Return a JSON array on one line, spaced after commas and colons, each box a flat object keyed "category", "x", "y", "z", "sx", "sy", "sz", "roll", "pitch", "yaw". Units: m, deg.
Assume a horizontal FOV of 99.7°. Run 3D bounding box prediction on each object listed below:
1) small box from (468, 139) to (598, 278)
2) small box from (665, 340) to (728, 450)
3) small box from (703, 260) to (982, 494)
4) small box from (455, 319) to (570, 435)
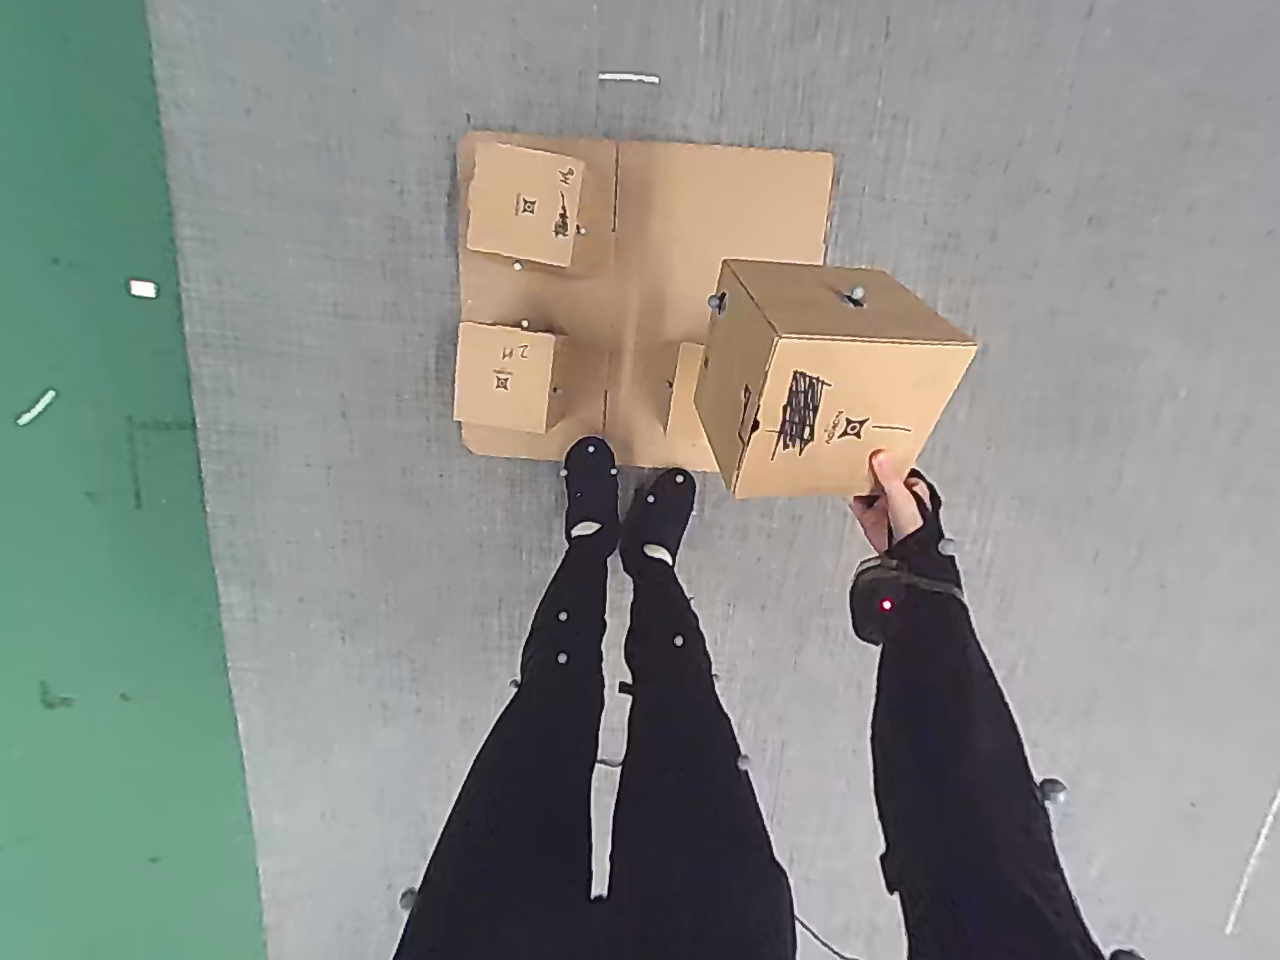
[{"category": "small box", "x": -0.179, "y": -0.459, "z": 0.941, "sx": 0.179, "sy": 0.176, "sz": 0.168, "roll": 11, "pitch": 103, "yaw": -1}, {"category": "small box", "x": 0.140, "y": -0.158, "z": 1.003, "sx": 0.168, "sy": 0.176, "sz": 0.179, "roll": 8, "pitch": 103, "yaw": -1}, {"category": "small box", "x": 0.172, "y": -0.103, "z": 0.531, "sx": 0.179, "sy": 0.176, "sz": 0.168, "roll": 0, "pitch": 131, "yaw": -11}, {"category": "small box", "x": -0.229, "y": -0.194, "z": 1.006, "sx": 0.168, "sy": 0.176, "sz": 0.179, "roll": 9, "pitch": 103, "yaw": -2}]
